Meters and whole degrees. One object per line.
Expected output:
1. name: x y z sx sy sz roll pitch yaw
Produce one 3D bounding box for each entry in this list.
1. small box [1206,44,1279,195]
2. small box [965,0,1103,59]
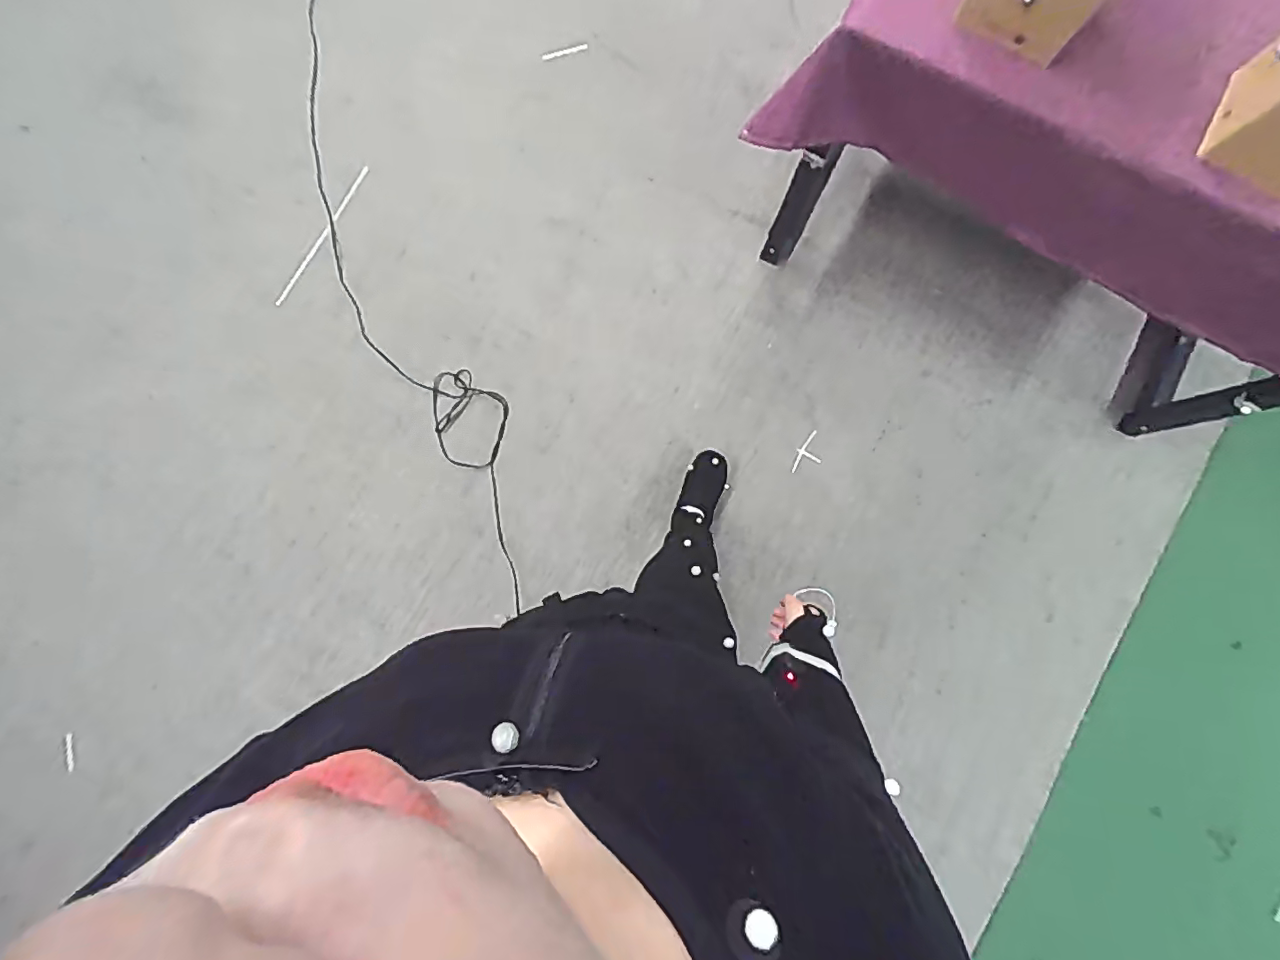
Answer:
1. small box: 0.966 -0.532 0.748 0.179 0.176 0.168 29 85 2
2. small box: 0.606 -0.762 0.768 0.168 0.176 0.179 30 85 2
